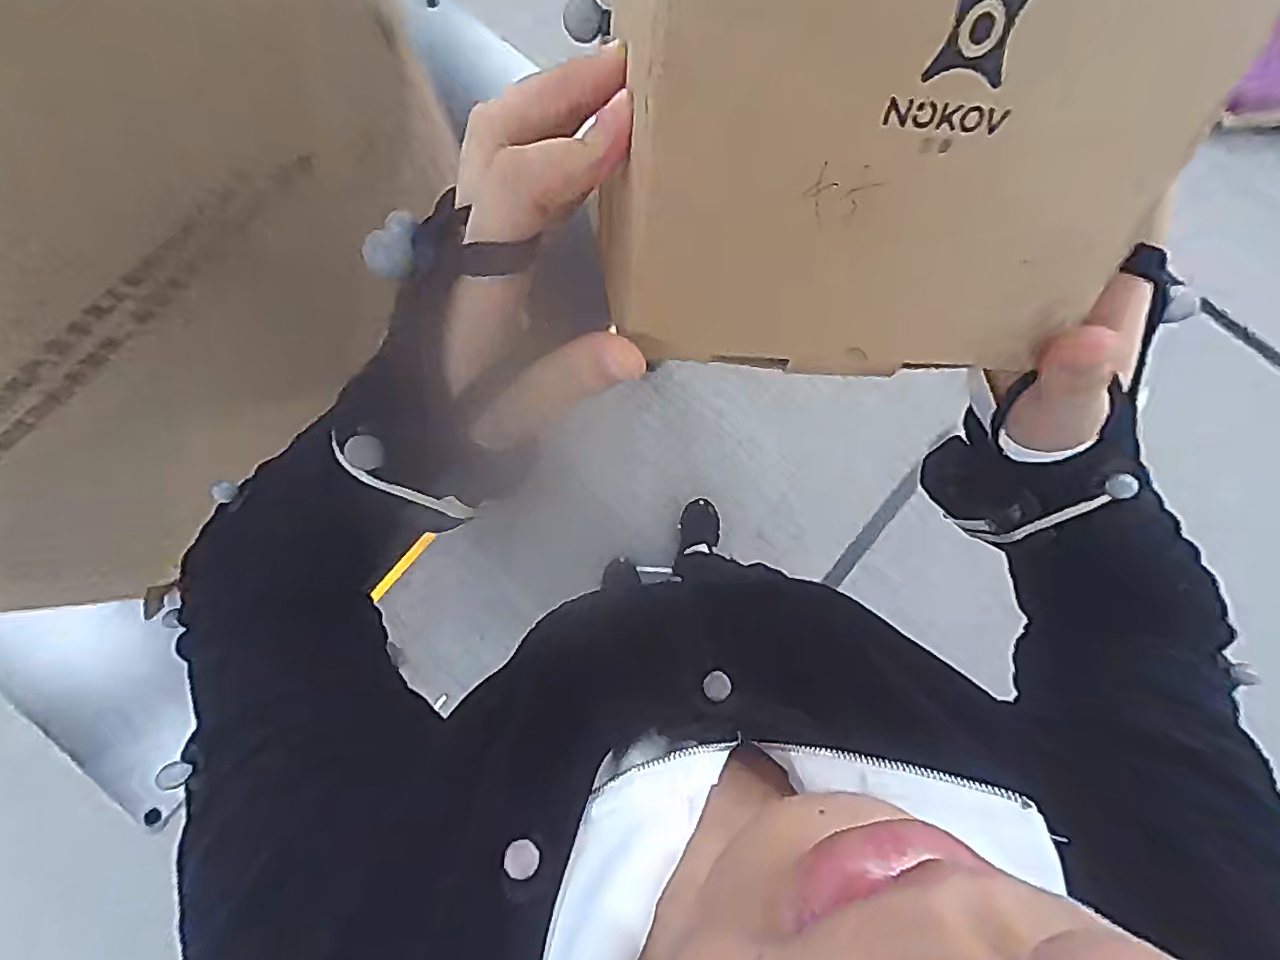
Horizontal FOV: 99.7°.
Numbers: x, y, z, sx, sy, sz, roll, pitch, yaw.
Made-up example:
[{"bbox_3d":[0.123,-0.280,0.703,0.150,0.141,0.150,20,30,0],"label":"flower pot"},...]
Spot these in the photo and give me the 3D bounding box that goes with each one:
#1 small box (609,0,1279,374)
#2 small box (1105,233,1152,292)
[{"bbox_3d":[0.079,-0.160,0.202,0.168,0.179,0.176,0,42,-9],"label":"small box"},{"bbox_3d":[1.151,-0.577,1.413,0.168,0.176,0.179,40,83,4],"label":"small box"}]
